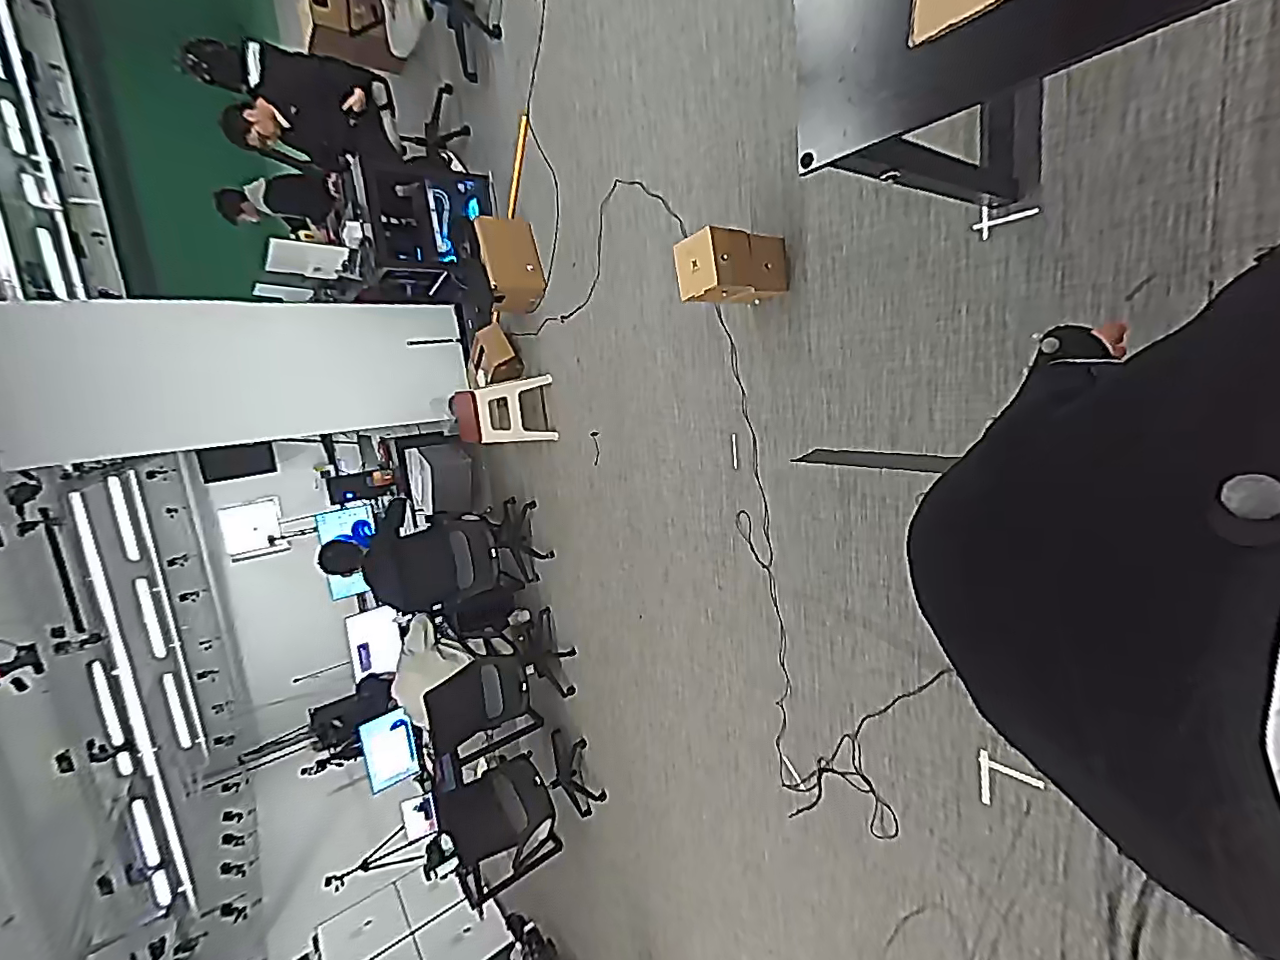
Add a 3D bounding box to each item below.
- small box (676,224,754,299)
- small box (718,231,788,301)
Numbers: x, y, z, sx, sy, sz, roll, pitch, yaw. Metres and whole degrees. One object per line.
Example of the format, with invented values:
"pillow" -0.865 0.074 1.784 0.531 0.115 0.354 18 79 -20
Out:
"small box" 0.236 -0.674 1.684 0.168 0.176 0.179 -2 98 53
"small box" 0.366 -0.697 1.779 0.168 0.176 0.179 2 103 53
